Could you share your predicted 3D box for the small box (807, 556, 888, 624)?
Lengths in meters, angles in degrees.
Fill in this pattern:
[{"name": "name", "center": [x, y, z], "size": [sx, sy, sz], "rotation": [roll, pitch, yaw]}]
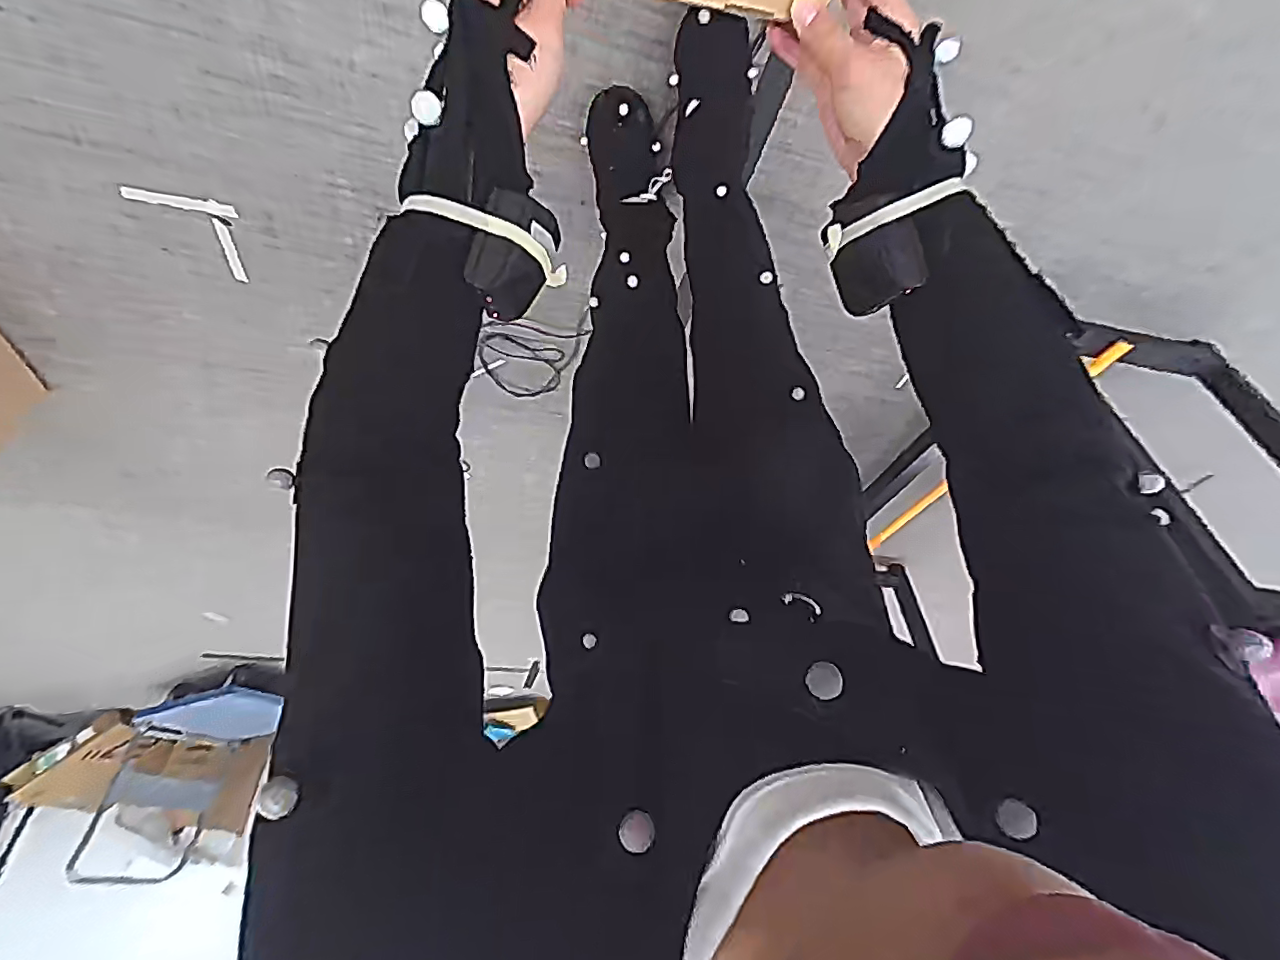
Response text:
[{"name": "small box", "center": [0.690, 0.369, 1.819], "size": [0.179, 0.176, 0.168], "rotation": [7, 141, -14]}]
